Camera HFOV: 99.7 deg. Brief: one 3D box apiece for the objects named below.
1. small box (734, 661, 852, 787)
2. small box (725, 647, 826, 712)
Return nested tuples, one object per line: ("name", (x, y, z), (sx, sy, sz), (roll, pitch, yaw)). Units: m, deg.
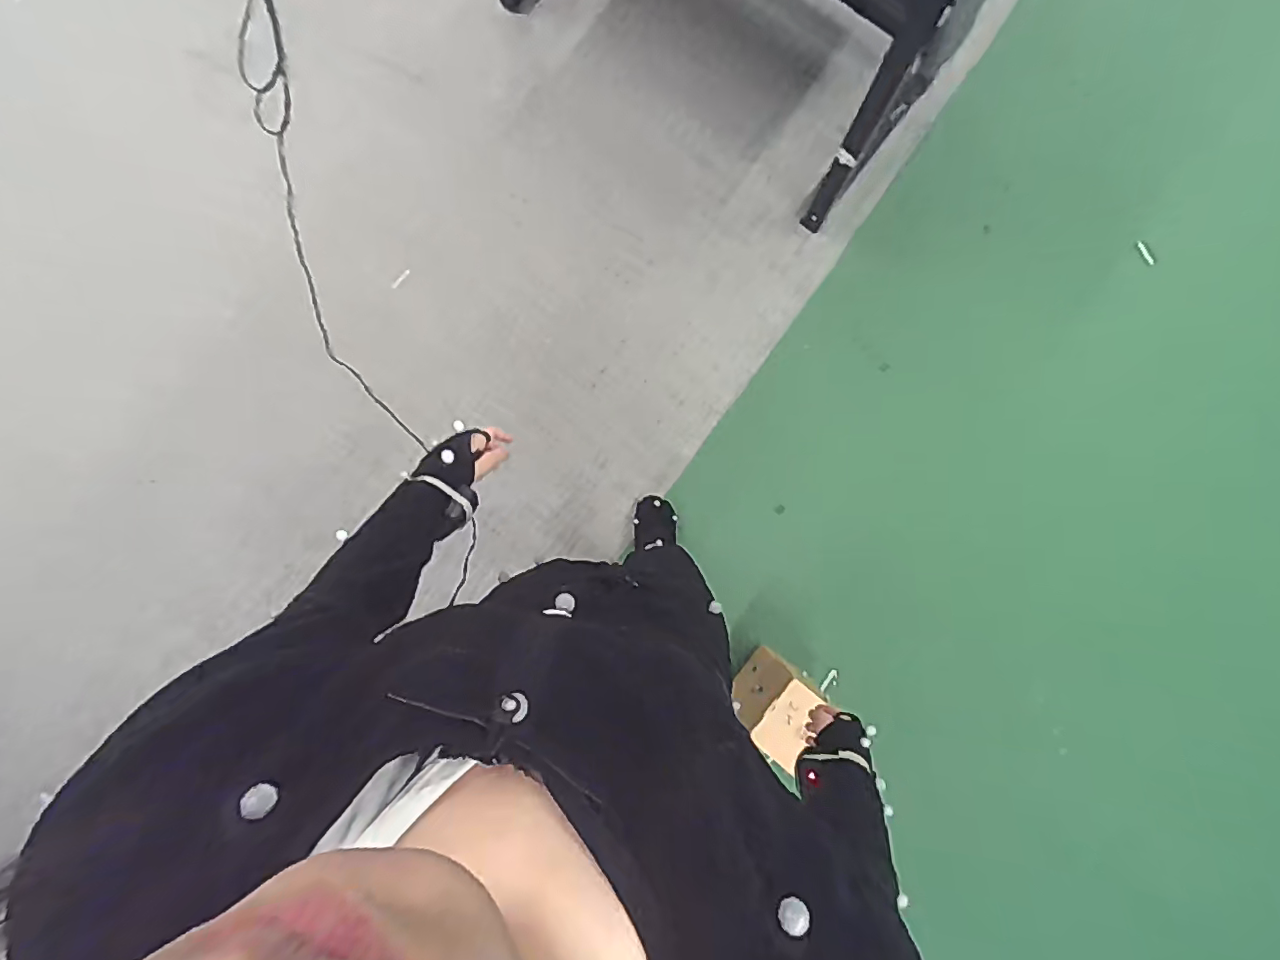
("small box", (0.339, 0.544, 1.235), (0.179, 0.176, 0.168), (40, 88, 3))
("small box", (0.340, 0.556, 1.401), (0.179, 0.176, 0.168), (37, 88, 2))
